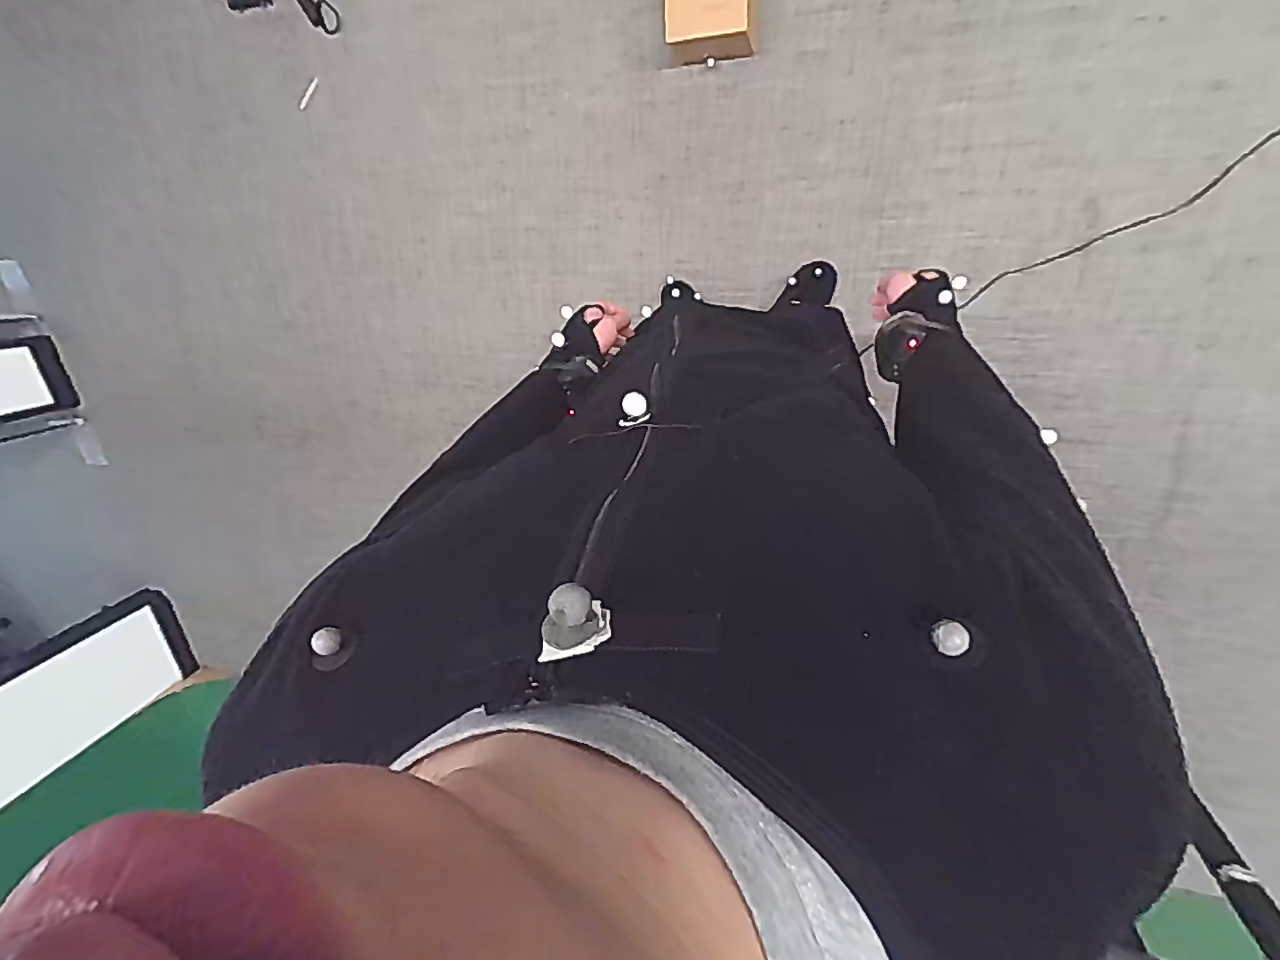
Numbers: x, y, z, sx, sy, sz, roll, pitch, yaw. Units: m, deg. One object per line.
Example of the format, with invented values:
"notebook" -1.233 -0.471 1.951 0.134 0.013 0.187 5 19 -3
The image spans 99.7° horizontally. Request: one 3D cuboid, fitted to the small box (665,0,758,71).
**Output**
"small box" 0.149 -0.979 1.114 0.168 0.176 0.179 5 115 16
